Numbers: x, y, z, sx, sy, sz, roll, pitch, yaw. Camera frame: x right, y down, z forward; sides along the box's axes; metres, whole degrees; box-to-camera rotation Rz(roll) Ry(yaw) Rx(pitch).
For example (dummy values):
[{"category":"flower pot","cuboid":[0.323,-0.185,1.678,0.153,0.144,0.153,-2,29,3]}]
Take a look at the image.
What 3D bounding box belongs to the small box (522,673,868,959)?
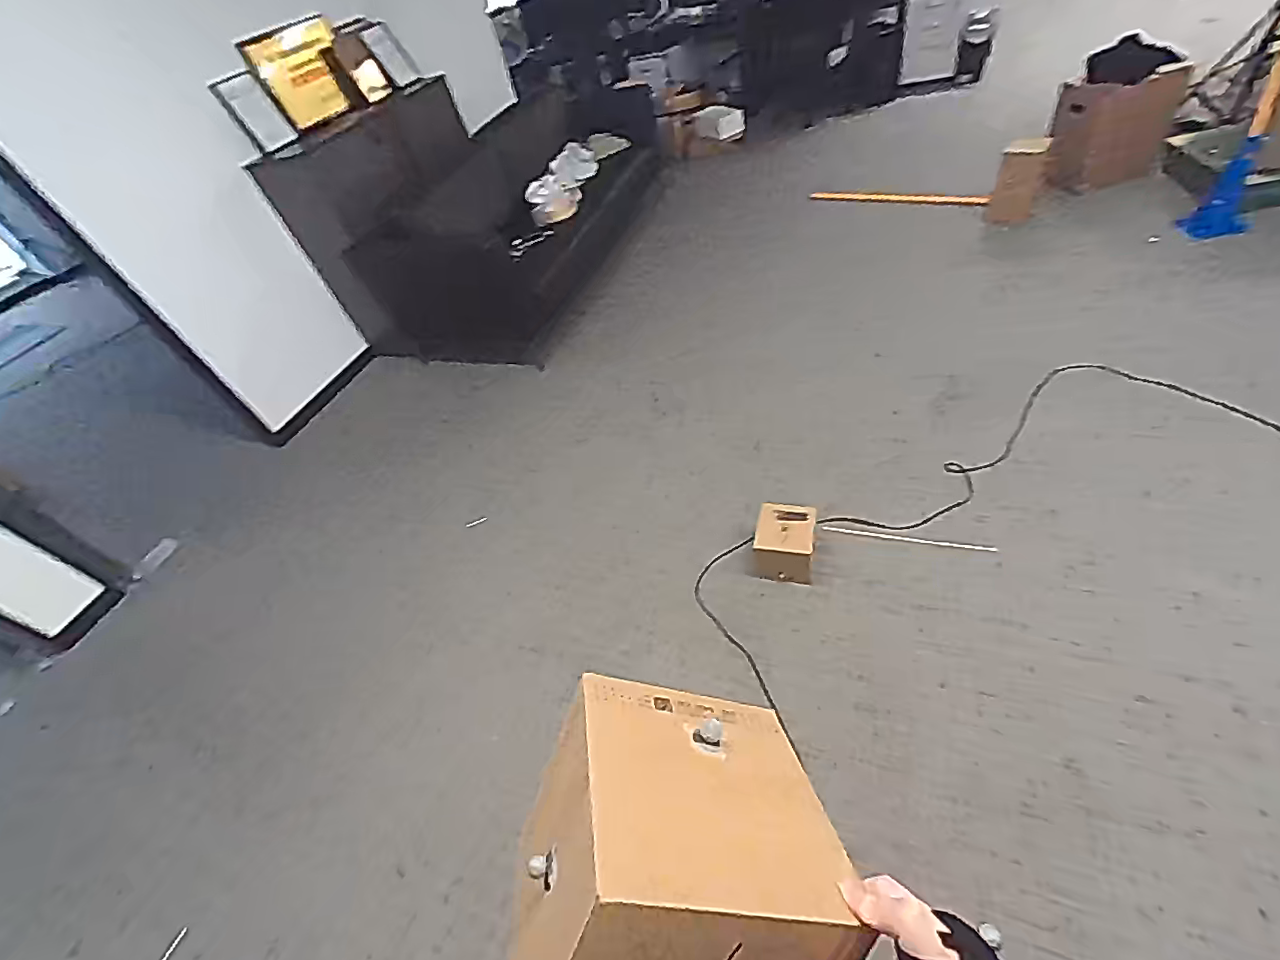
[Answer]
[{"category":"small box","cuboid":[0.019,0.274,0.386,0.168,0.179,0.176,16,15,-12]}]
